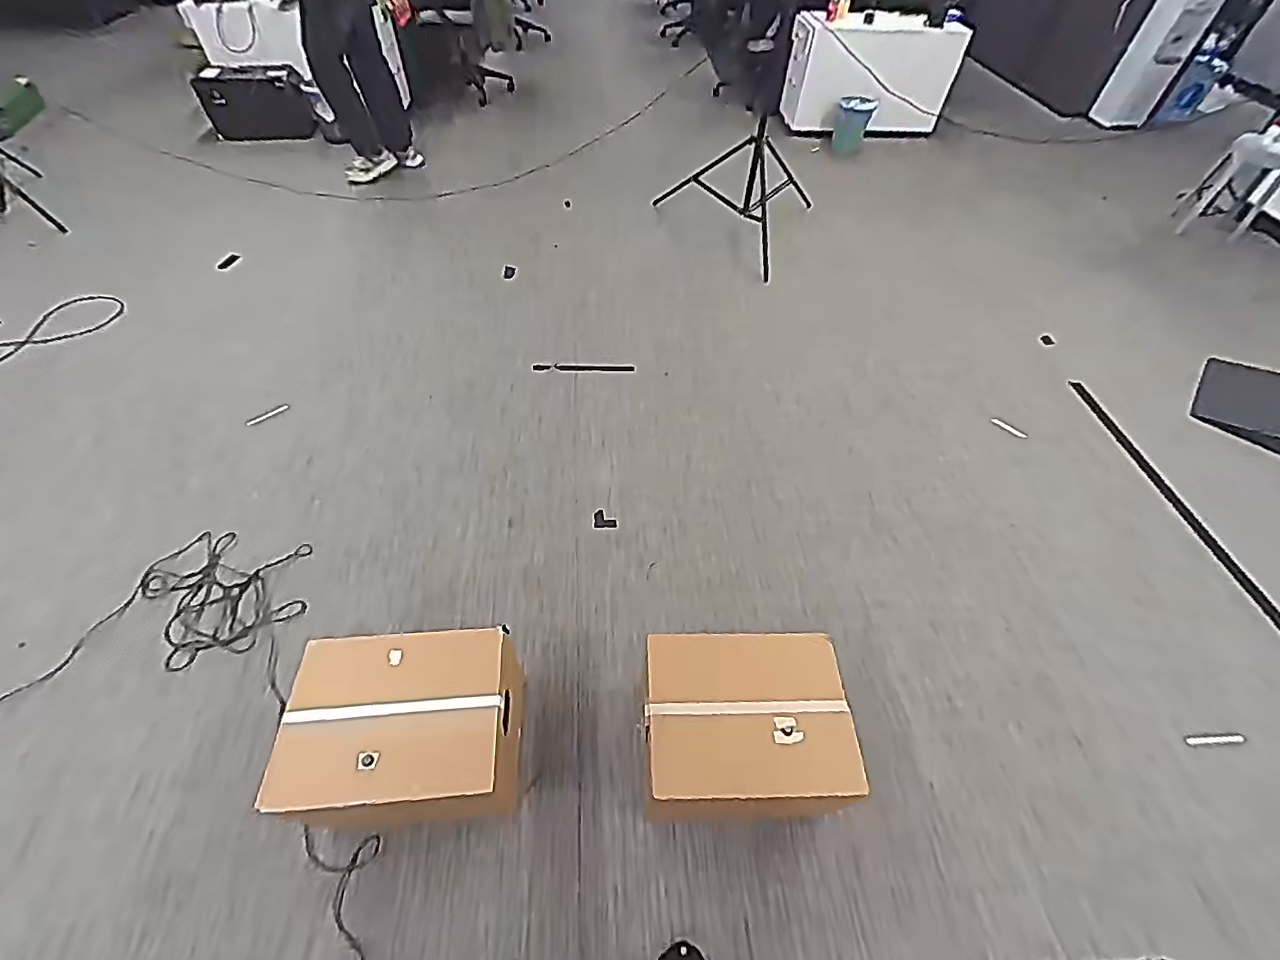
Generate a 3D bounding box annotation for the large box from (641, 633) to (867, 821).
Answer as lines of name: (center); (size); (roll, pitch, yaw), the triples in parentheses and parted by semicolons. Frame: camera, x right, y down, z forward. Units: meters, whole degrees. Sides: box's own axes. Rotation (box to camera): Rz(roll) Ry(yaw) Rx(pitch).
large box: (0.214, 0.551, 1.203); (0.408, 0.320, 0.320); (1, 52, -3)
